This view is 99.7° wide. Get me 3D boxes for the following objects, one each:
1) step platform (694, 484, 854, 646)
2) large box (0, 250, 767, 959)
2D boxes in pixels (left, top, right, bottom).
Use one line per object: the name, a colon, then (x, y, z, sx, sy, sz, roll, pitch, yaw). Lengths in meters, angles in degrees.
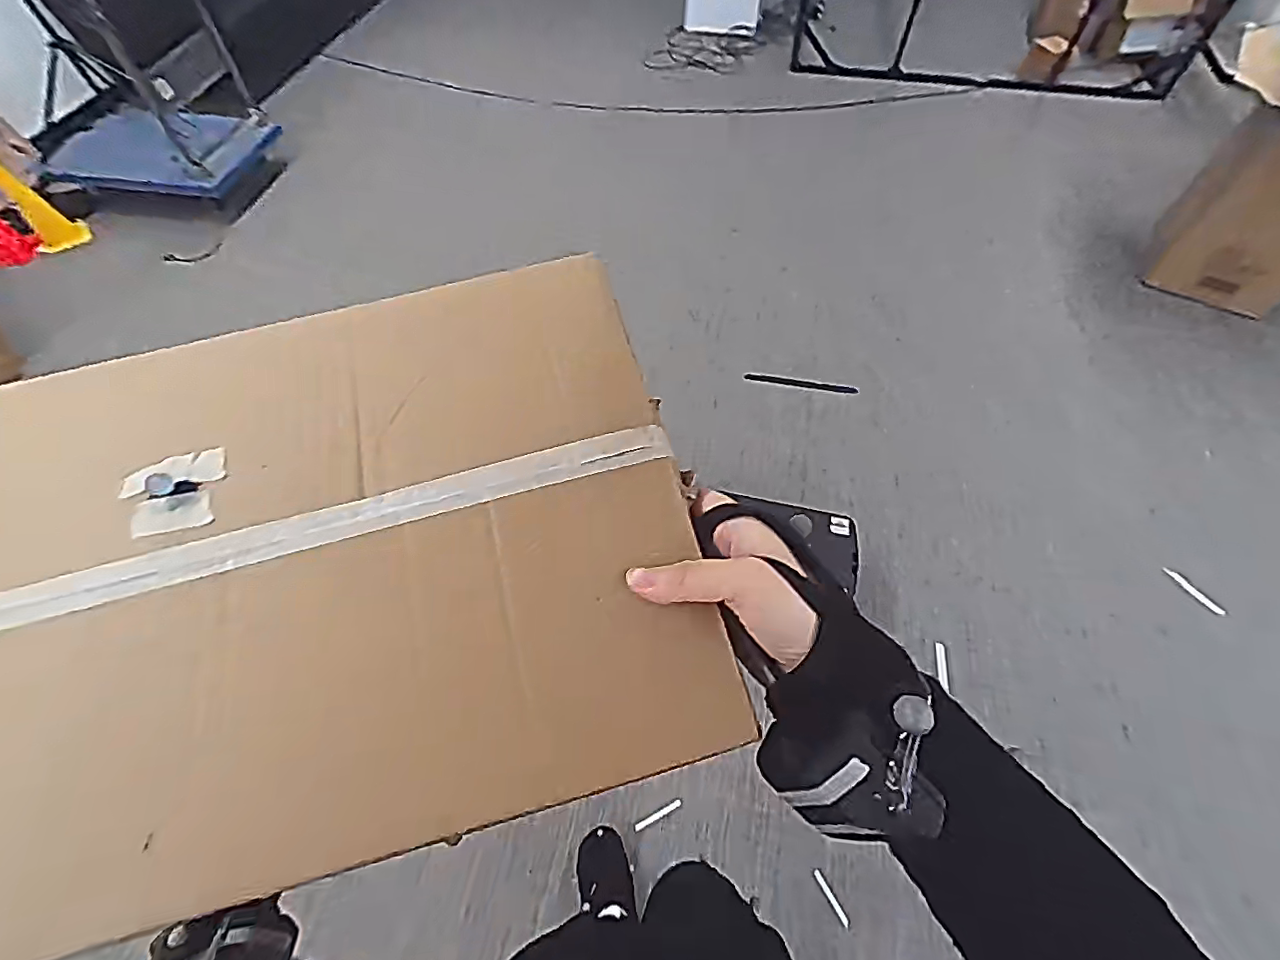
step platform: (0.217, 0.196, 1.472, 0.684, 0.204, 0.286, 15, 60, 12)
large box: (-0.160, 0.087, 0.430, 0.408, 0.320, 0.320, -15, 65, -3)
